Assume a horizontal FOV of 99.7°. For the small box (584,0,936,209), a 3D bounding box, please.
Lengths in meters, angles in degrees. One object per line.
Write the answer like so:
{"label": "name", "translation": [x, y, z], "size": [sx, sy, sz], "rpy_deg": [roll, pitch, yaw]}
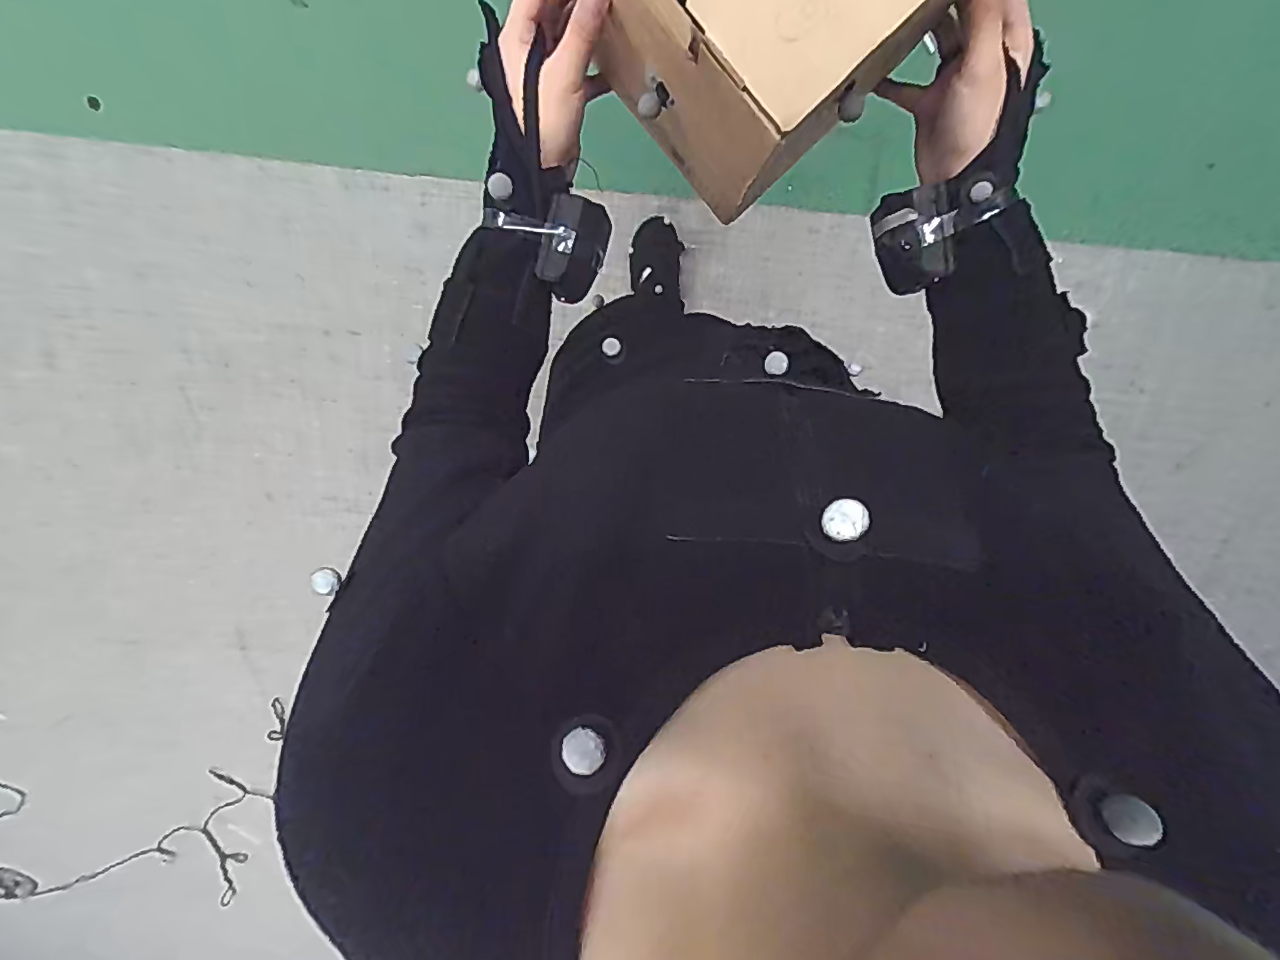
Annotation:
{"label": "small box", "translation": [0.074, -0.304, 0.328], "size": [0.179, 0.176, 0.168], "rpy_deg": [-42, 98, 8]}
